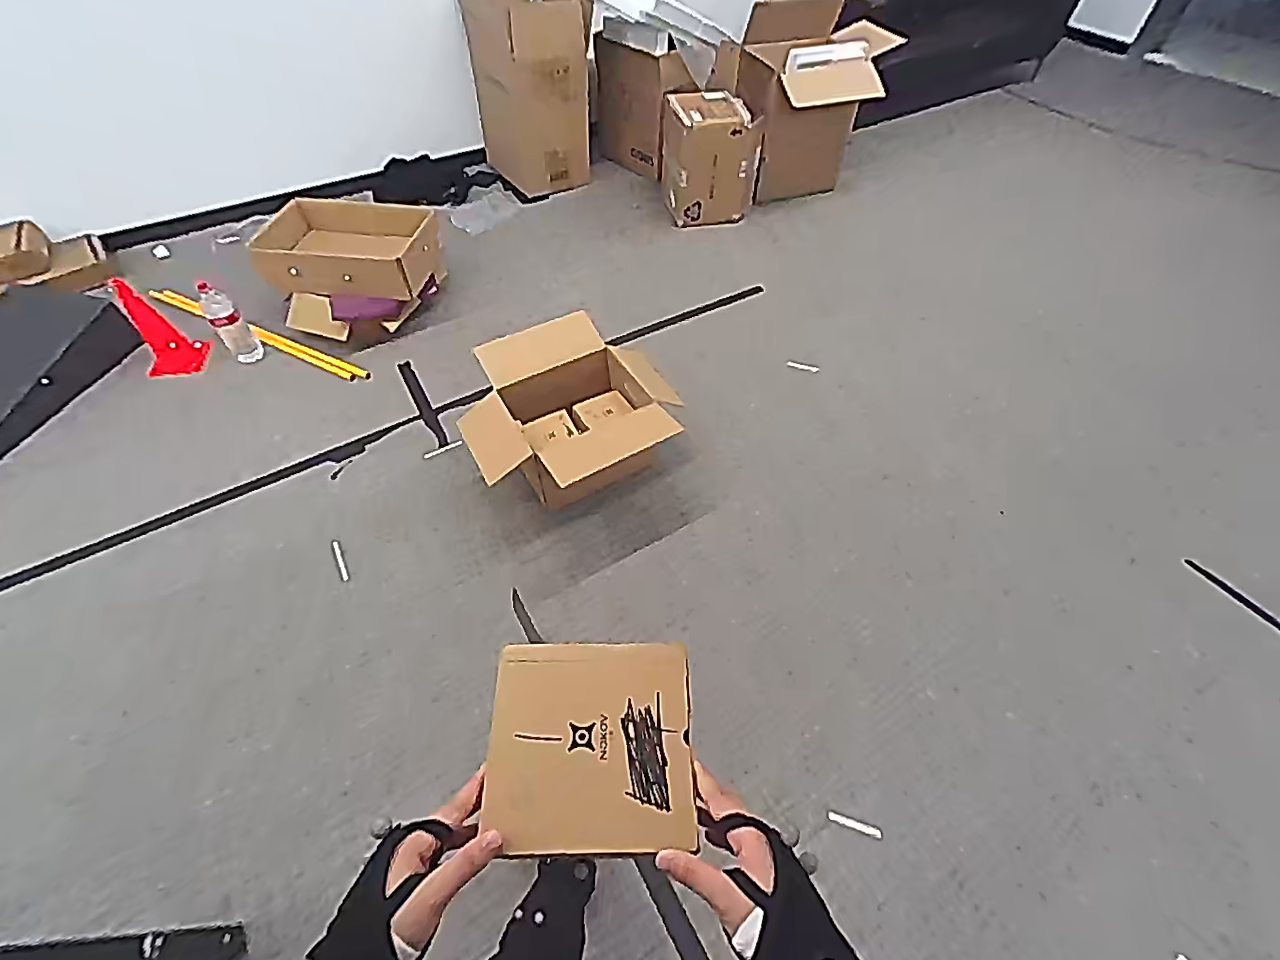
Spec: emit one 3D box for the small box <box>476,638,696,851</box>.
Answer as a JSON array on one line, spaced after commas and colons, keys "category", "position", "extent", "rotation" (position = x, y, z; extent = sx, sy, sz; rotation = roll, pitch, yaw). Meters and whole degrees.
[{"category": "small box", "position": [-0.046, 0.264, 0.535], "extent": [0.179, 0.176, 0.168], "rotation": [0, 54, -2]}]
